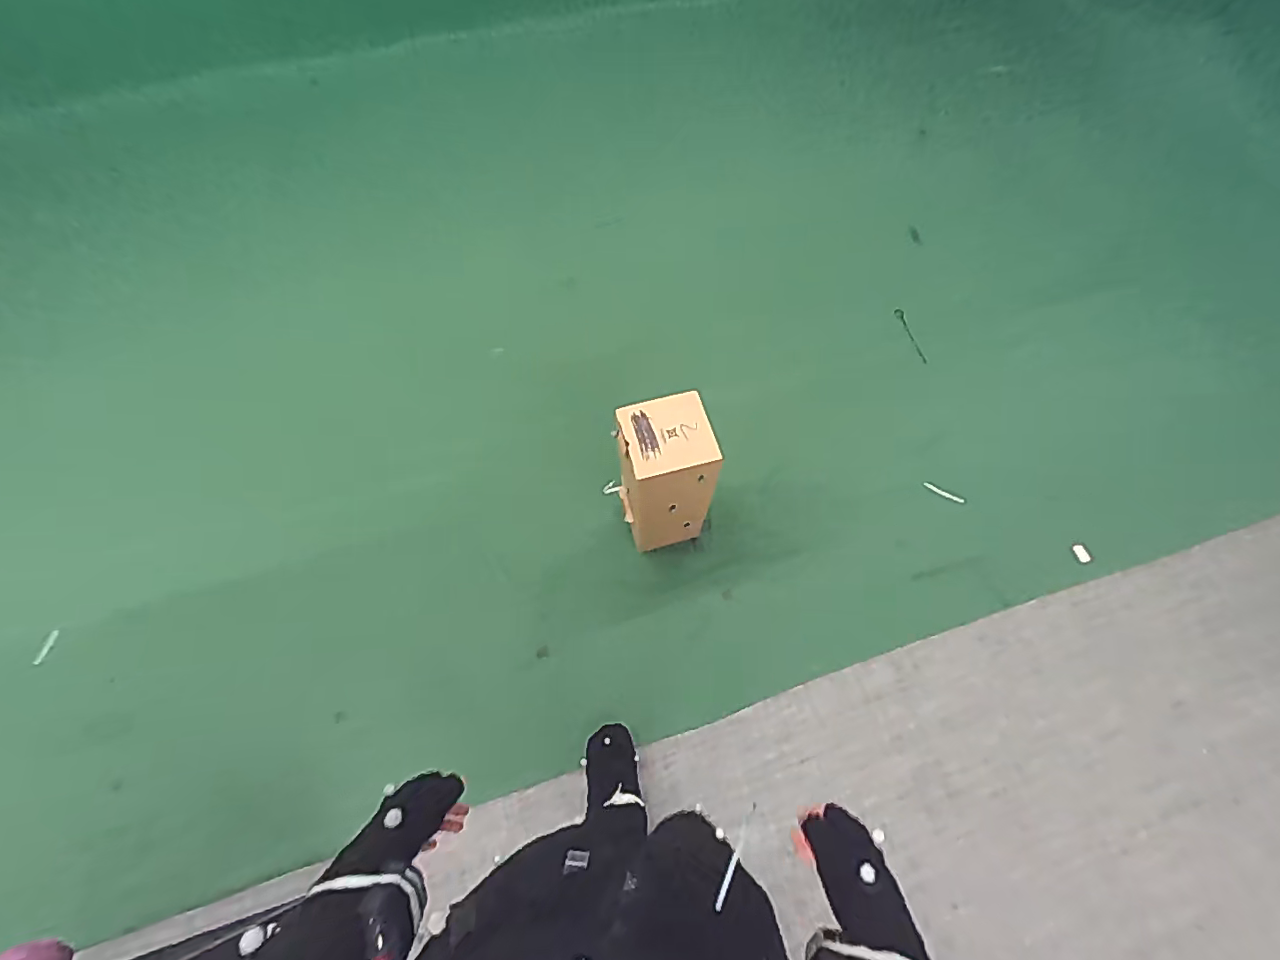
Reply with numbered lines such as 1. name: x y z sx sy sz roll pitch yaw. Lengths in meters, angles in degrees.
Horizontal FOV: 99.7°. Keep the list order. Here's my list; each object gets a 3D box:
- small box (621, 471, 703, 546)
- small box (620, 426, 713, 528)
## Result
1. small box: 0.051 0.058 1.432 0.179 0.176 0.168 -14 66 -7
2. small box: 0.056 -0.004 1.281 0.179 0.176 0.168 -14 67 -6
